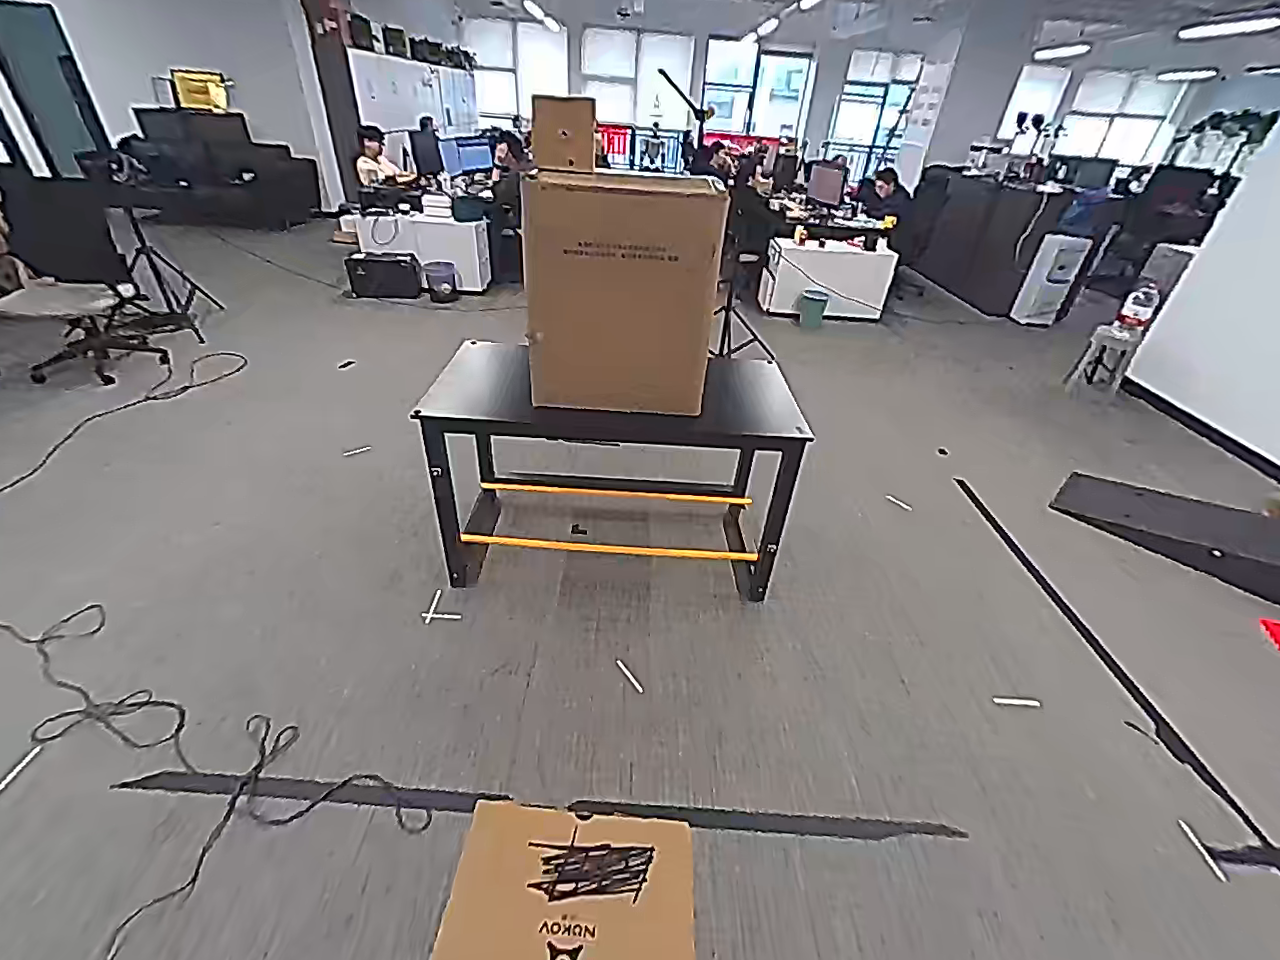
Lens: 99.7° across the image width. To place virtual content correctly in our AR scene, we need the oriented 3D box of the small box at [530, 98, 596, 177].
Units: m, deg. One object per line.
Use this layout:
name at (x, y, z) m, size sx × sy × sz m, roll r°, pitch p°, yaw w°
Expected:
small box at (-0.205, -0.937, 1.481) m, size 0.168 × 0.176 × 0.179 m, roll 2°, pitch 34°, yaw -5°

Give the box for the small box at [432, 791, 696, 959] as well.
small box at (-0.055, 0.362, 0.382) m, size 0.168 × 0.176 × 0.179 m, roll 6°, pitch 28°, yaw -1°
